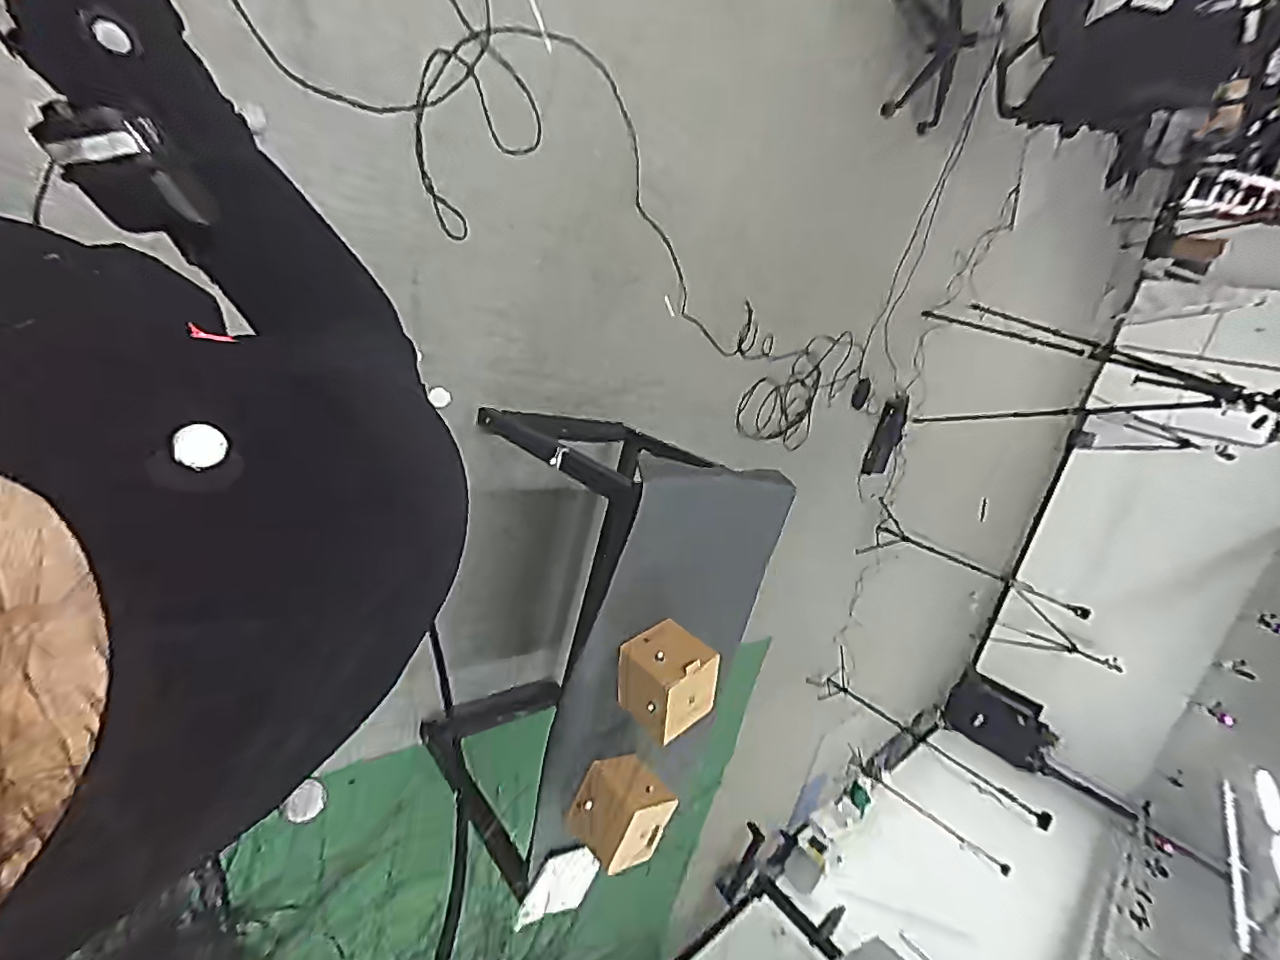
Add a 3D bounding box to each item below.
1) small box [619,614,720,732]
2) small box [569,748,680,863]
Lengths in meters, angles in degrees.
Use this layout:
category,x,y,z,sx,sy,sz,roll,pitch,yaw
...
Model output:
category,x,y,z,sx,sy,sz,roll,pitch,yaw
small box,0.065,0.441,1.275,0.168,0.176,0.179,-18,122,-37
small box,-0.040,0.792,1.341,0.179,0.176,0.168,23,92,-47
